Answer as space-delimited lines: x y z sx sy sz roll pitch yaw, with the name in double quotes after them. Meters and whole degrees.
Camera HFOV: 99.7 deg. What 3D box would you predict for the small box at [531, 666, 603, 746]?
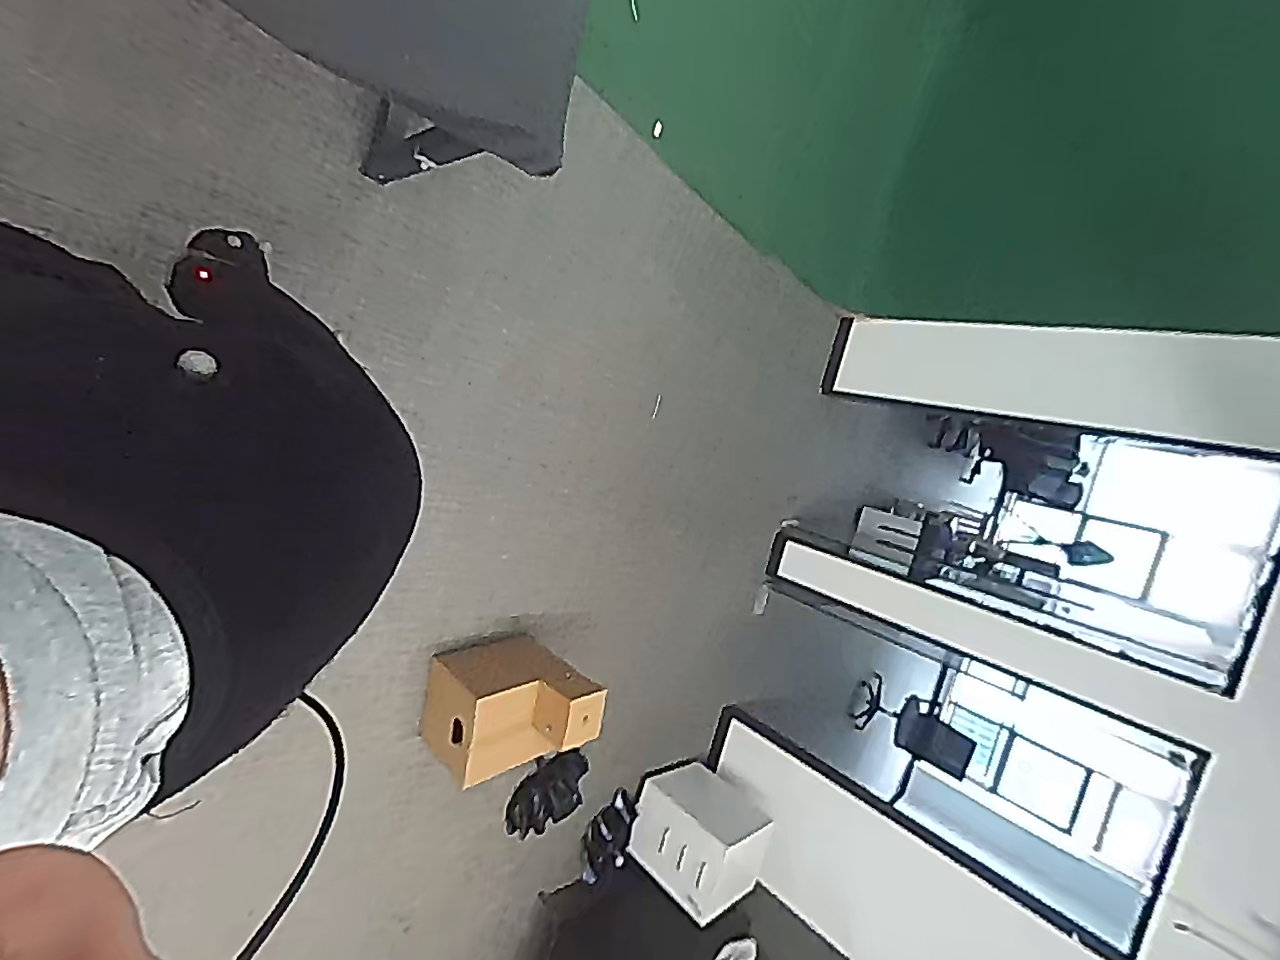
-0.252 0.762 1.839 0.168 0.176 0.179 4 97 -49 "small box"
